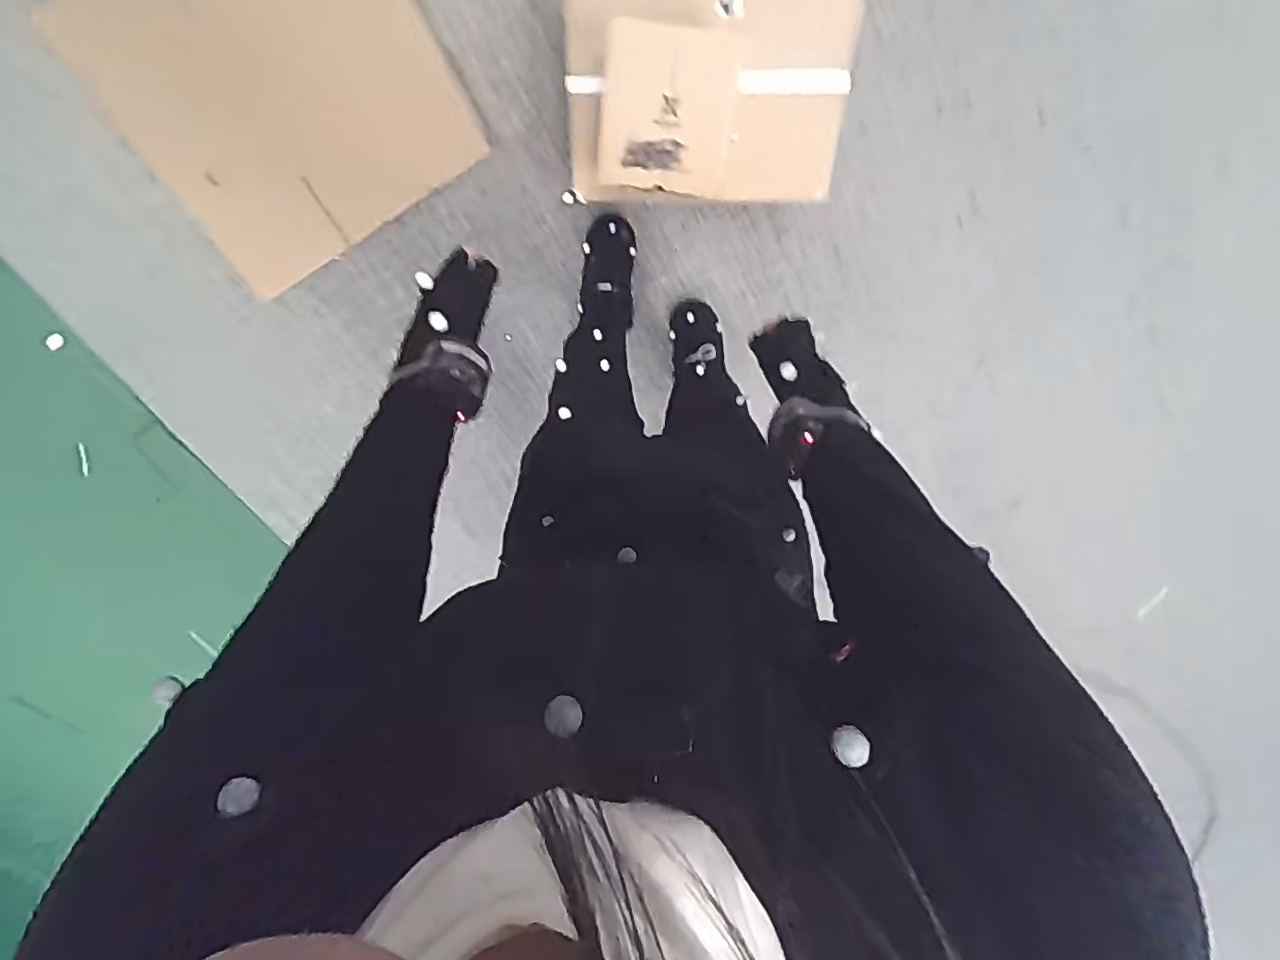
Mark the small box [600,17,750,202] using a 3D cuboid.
[{"bbox_3d":[0.047,-0.497,0.744,0.168,0.176,0.179,9,121,1],"label":"small box"}]
